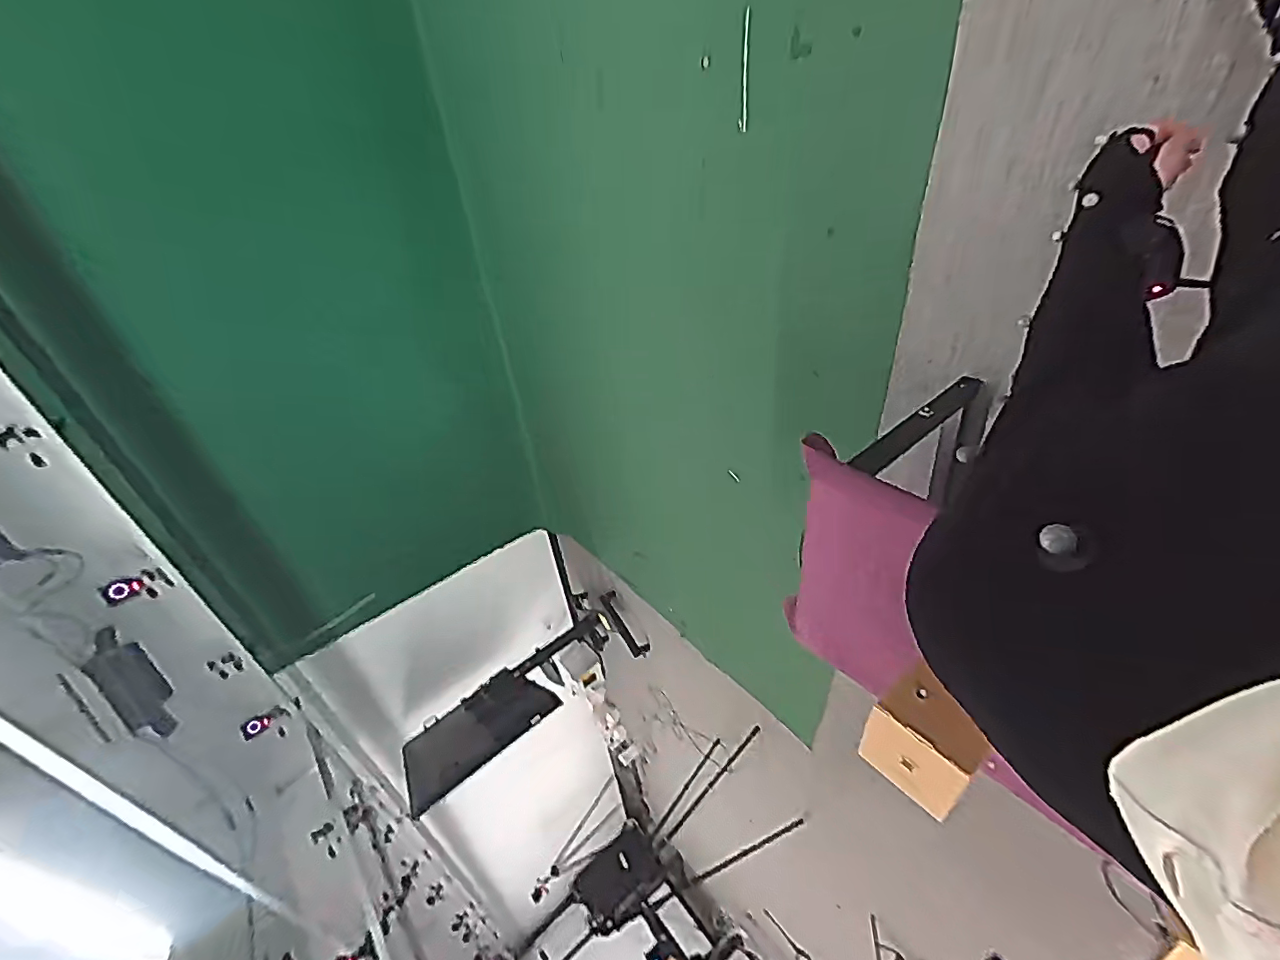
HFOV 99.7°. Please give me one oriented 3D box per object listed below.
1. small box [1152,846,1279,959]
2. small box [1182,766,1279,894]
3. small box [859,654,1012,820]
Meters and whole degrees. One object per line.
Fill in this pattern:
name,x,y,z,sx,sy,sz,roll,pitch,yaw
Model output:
small box,0.792,0.623,0.684,0.168,0.176,0.179,27,137,48
small box,0.920,0.552,0.754,0.168,0.176,0.179,29,138,45
small box,0.527,0.451,0.969,0.168,0.176,0.179,35,142,41
